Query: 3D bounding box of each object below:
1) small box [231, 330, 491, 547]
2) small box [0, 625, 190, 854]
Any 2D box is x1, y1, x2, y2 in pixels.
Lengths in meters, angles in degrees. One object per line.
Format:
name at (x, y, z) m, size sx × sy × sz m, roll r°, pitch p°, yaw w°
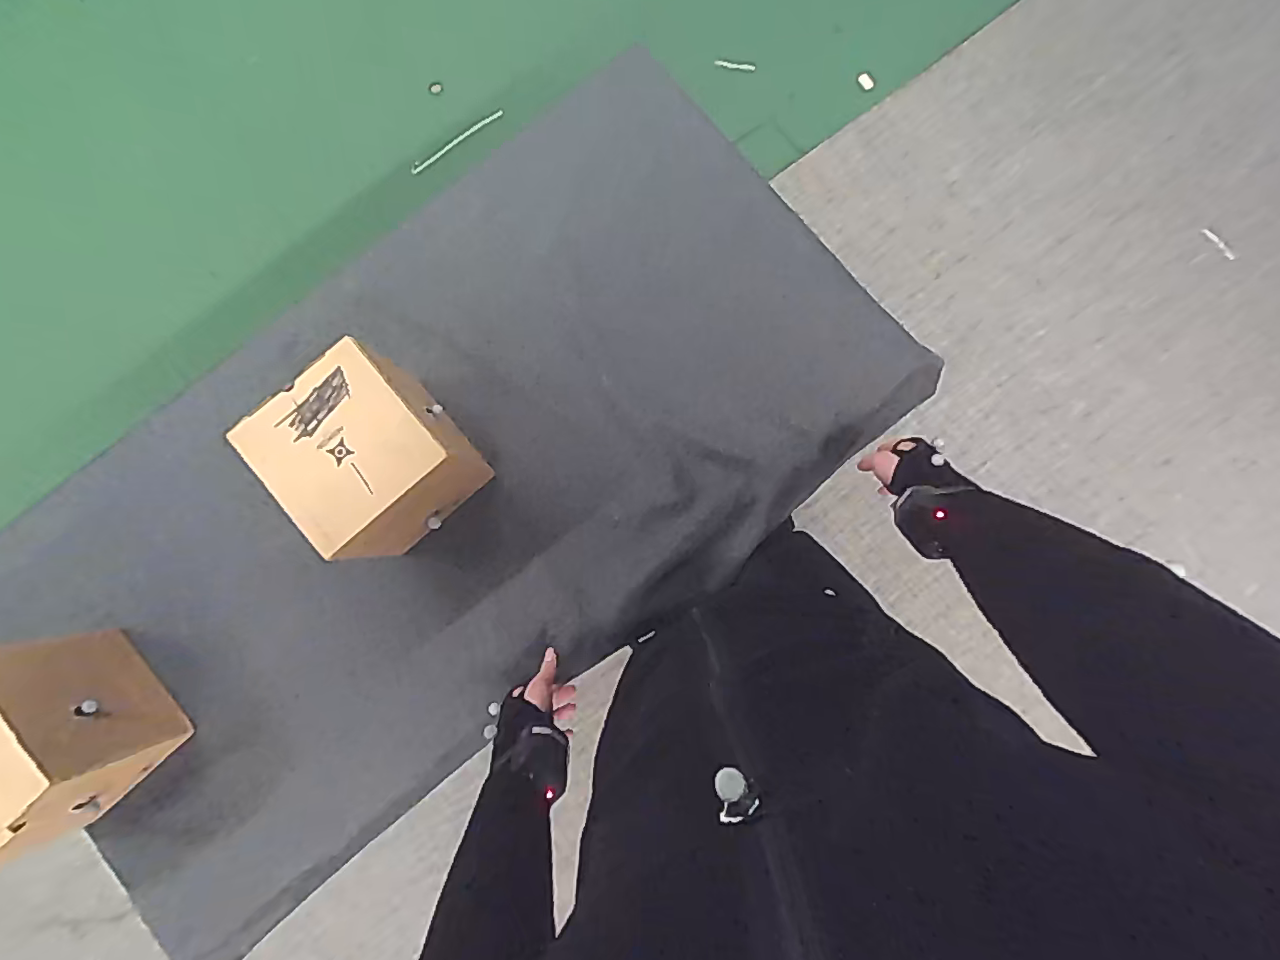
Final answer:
small box at (-0.310, -0.036, 0.639) m, size 0.168 × 0.176 × 0.179 m, roll -41°, pitch 85°, yaw -2°
small box at (-0.687, 0.292, 0.621) m, size 0.168 × 0.176 × 0.179 m, roll -43°, pitch 85°, yaw -3°
